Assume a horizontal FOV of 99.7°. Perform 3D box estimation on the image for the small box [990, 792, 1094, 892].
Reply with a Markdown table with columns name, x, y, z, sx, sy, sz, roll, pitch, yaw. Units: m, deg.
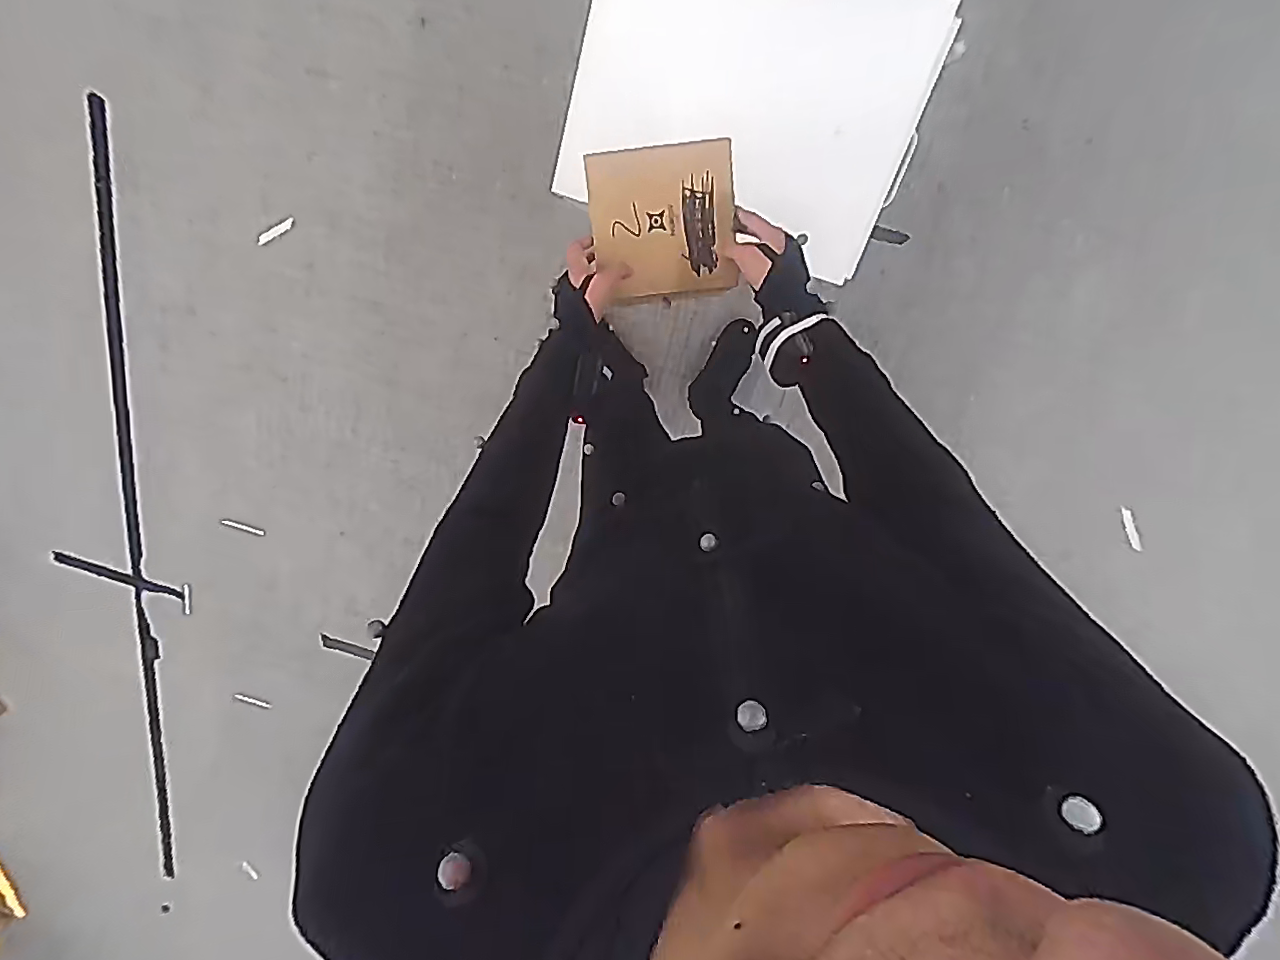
| name | x | y | z | sx | sy | sz | roll | pitch | yaw |
| --- | --- | --- | --- | --- | --- | --- | --- | --- | --- |
| small box | 1.243 | 1.128 | 1.692 | 0.168 | 0.176 | 0.179 | 25 | 110 | -3 |

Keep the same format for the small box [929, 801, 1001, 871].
| name | x | y | z | sx | sy | sz | roll | pitch | yaw |
| --- | --- | --- | --- | --- | --- | --- | --- | --- | --- |
| small box | 1.183 | 1.293 | 1.939 | 0.179 | 0.176 | 0.168 | 17 | 111 | 0 |
